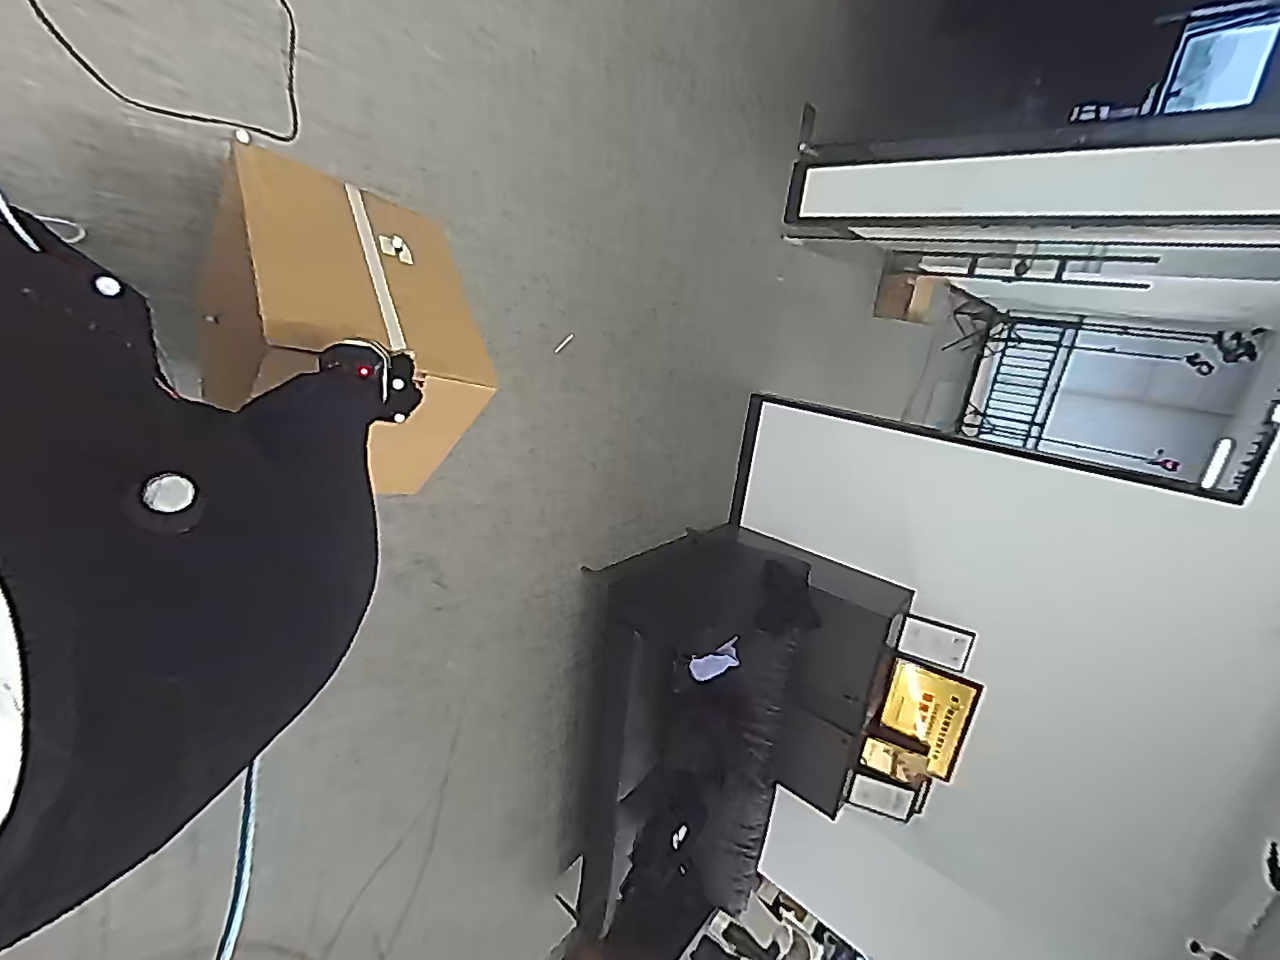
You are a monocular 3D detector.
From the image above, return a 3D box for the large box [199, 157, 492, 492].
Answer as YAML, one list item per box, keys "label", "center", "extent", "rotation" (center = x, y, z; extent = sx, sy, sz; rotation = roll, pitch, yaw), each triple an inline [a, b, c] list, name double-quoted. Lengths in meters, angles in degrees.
- label: "large box"
  center: [-0.509, -0.225, 0.909]
  extent: [0.320, 0.408, 0.320]
  rotation: [4, 142, -49]
